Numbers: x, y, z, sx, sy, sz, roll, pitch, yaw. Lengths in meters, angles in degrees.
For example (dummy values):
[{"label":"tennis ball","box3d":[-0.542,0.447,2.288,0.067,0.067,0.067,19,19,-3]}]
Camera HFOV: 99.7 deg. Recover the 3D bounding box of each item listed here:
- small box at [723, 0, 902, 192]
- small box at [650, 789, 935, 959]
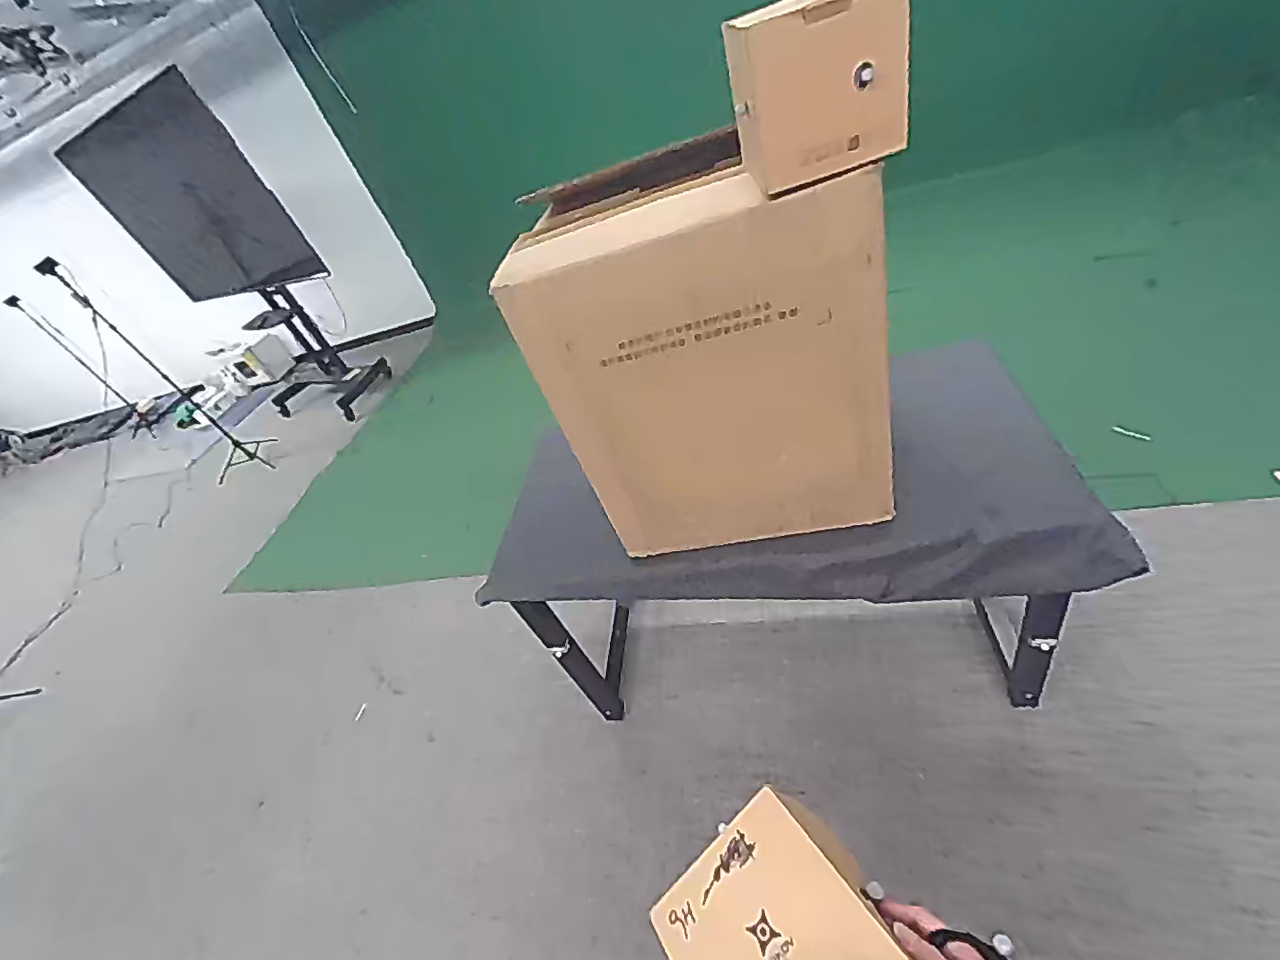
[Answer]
[{"label":"small box","box3d":[0.206,-0.473,0.655,0.168,0.176,0.179,-13,39,9]},{"label":"small box","box3d":[0.148,0.434,0.505,0.168,0.176,0.179,-45,41,-5]}]
